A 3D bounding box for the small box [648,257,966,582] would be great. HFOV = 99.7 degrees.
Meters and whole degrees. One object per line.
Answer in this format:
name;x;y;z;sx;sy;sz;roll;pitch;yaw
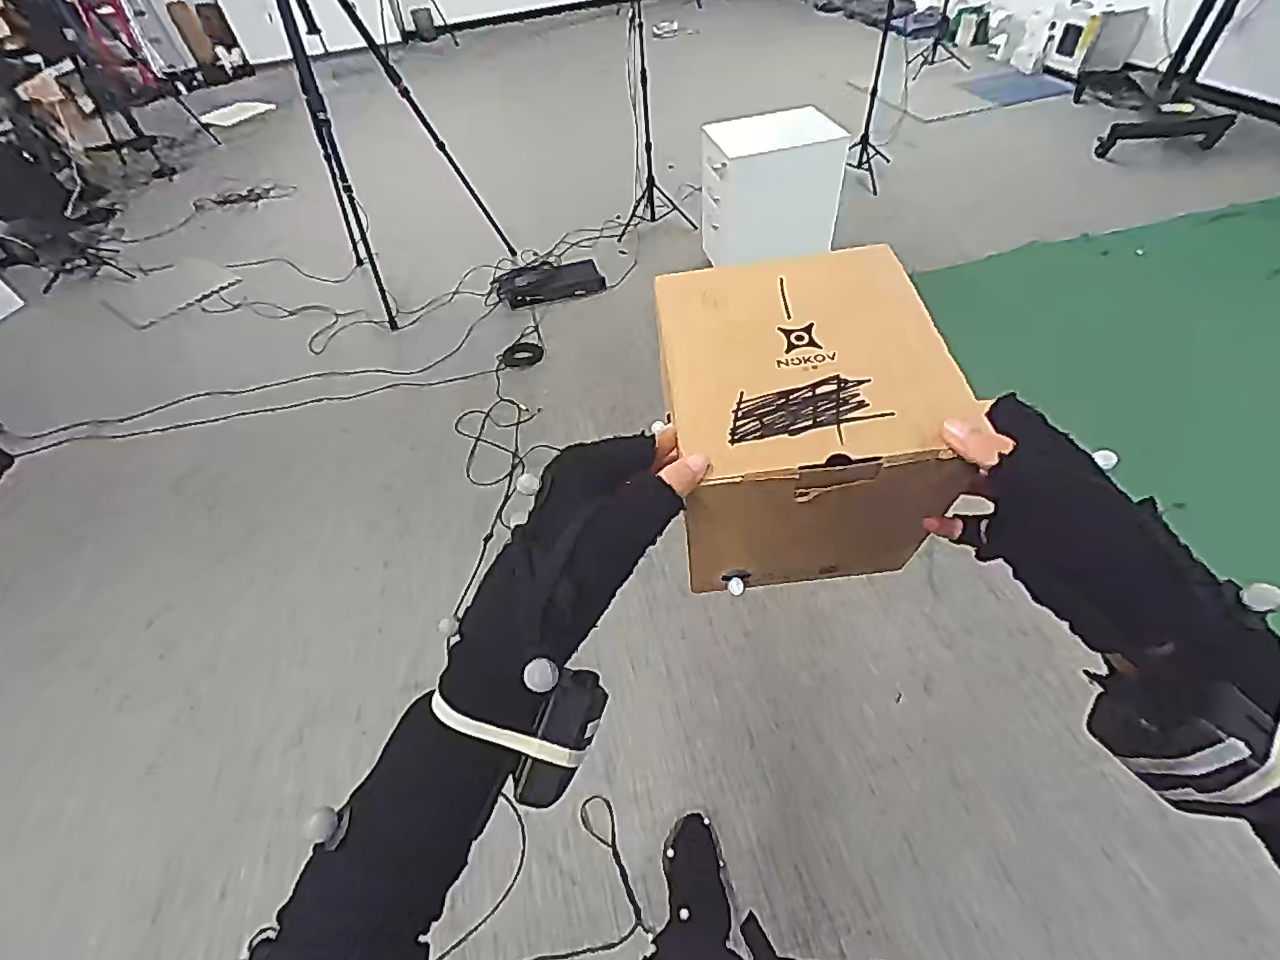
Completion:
small box;0.101;-0.033;0.408;0.168;0.176;0.179;-7;57;2
